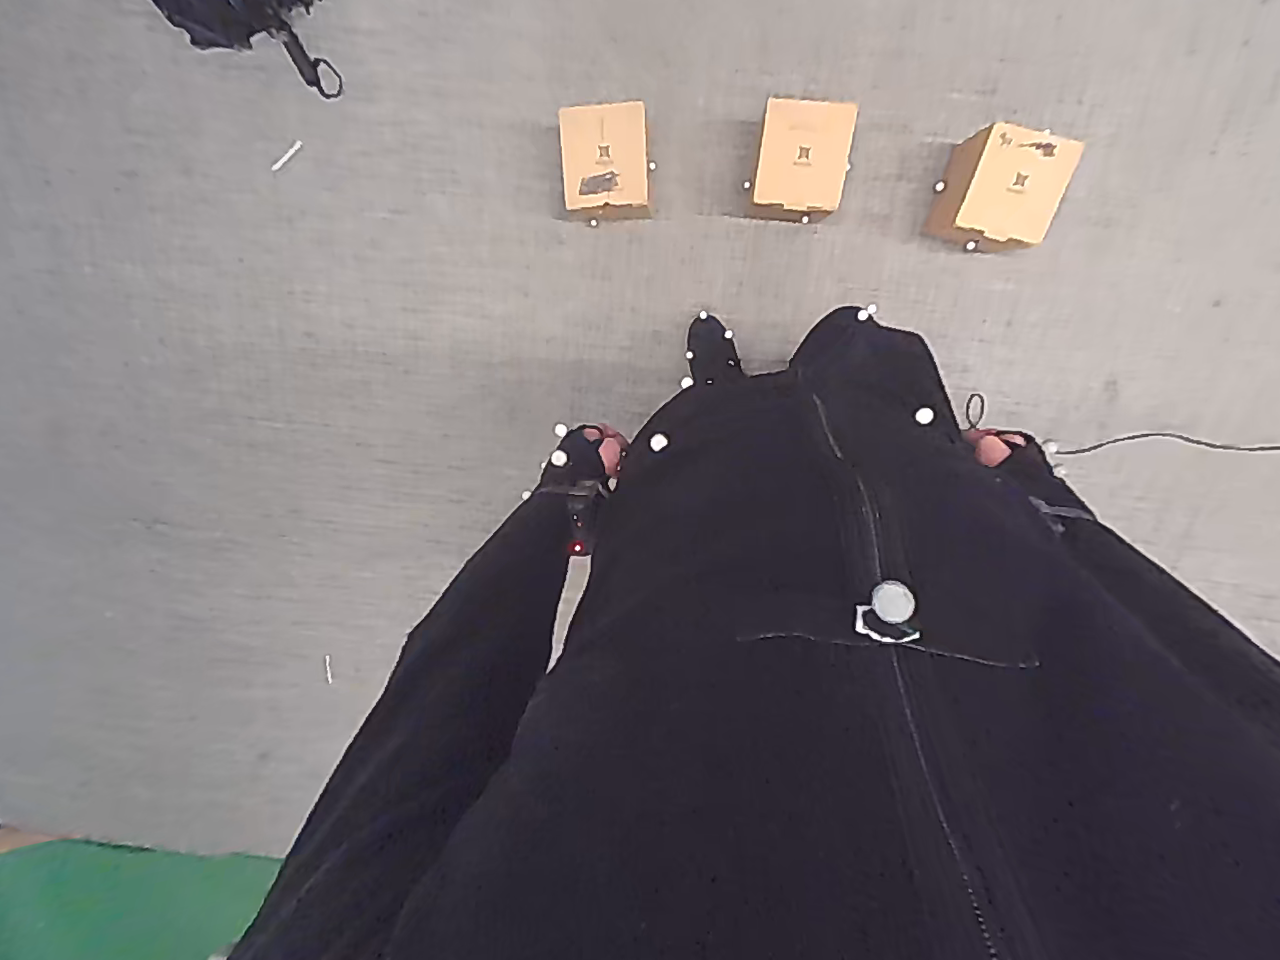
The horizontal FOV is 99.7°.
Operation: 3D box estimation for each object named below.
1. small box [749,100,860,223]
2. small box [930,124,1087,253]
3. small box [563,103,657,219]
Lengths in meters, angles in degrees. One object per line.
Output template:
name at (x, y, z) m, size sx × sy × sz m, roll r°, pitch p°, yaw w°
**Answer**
small box at (0.316, -0.622, 1.077) m, size 0.168 × 0.176 × 0.179 m, roll 6°, pitch 107°, yaw 3°
small box at (0.699, -0.556, 1.057) m, size 0.168 × 0.176 × 0.179 m, roll 16°, pitch 110°, yaw 1°
small box at (-0.054, -0.639, 1.107) m, size 0.168 × 0.176 × 0.179 m, roll 0°, pitch 108°, yaw 6°
